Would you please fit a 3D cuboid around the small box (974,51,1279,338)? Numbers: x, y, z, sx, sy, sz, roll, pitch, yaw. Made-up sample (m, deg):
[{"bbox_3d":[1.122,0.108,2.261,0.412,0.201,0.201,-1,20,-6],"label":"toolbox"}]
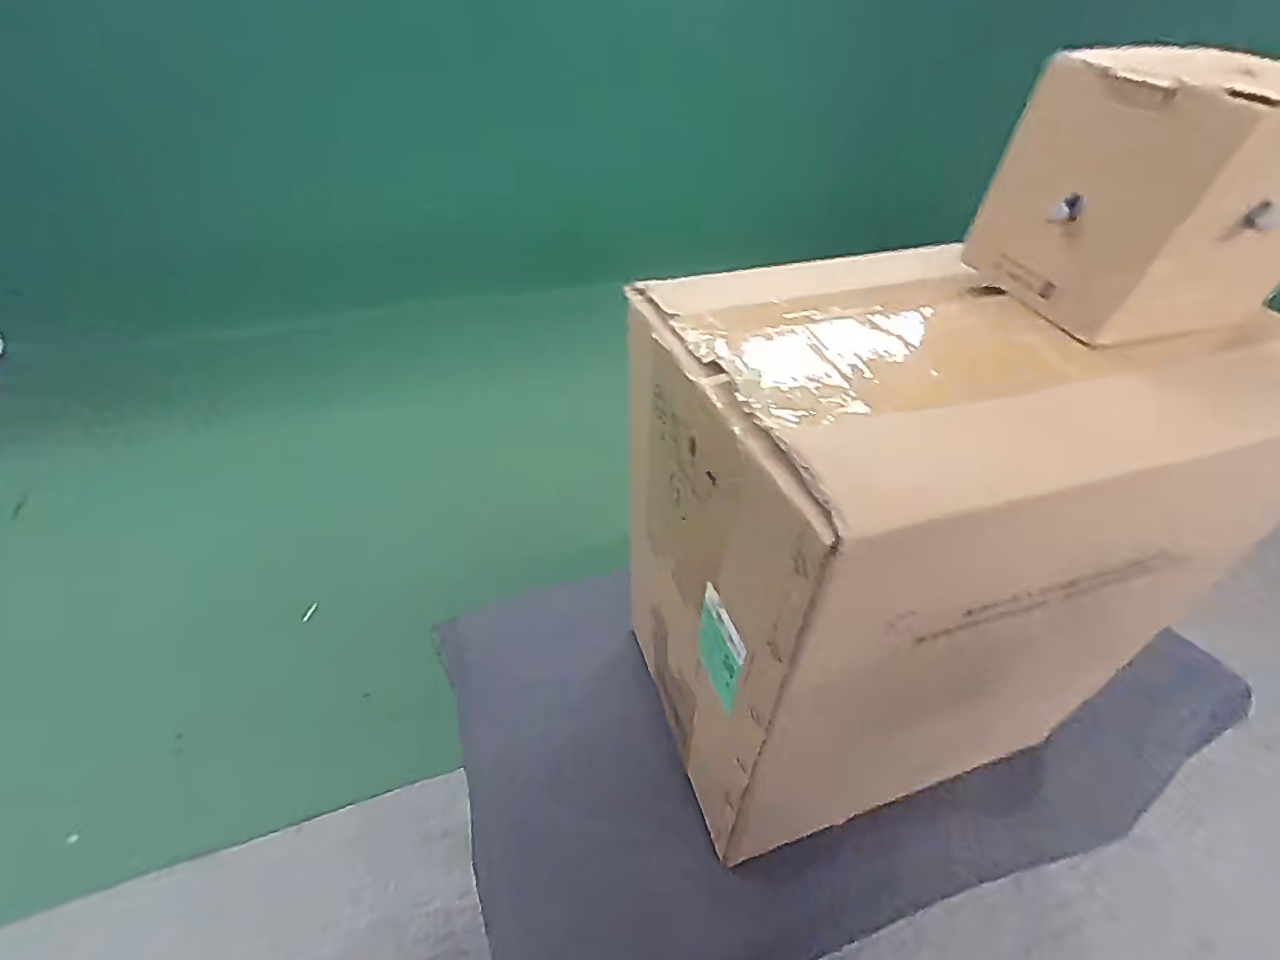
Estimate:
[{"bbox_3d":[0.420,-0.235,0.450,0.179,0.176,0.168,-12,48,-12],"label":"small box"}]
